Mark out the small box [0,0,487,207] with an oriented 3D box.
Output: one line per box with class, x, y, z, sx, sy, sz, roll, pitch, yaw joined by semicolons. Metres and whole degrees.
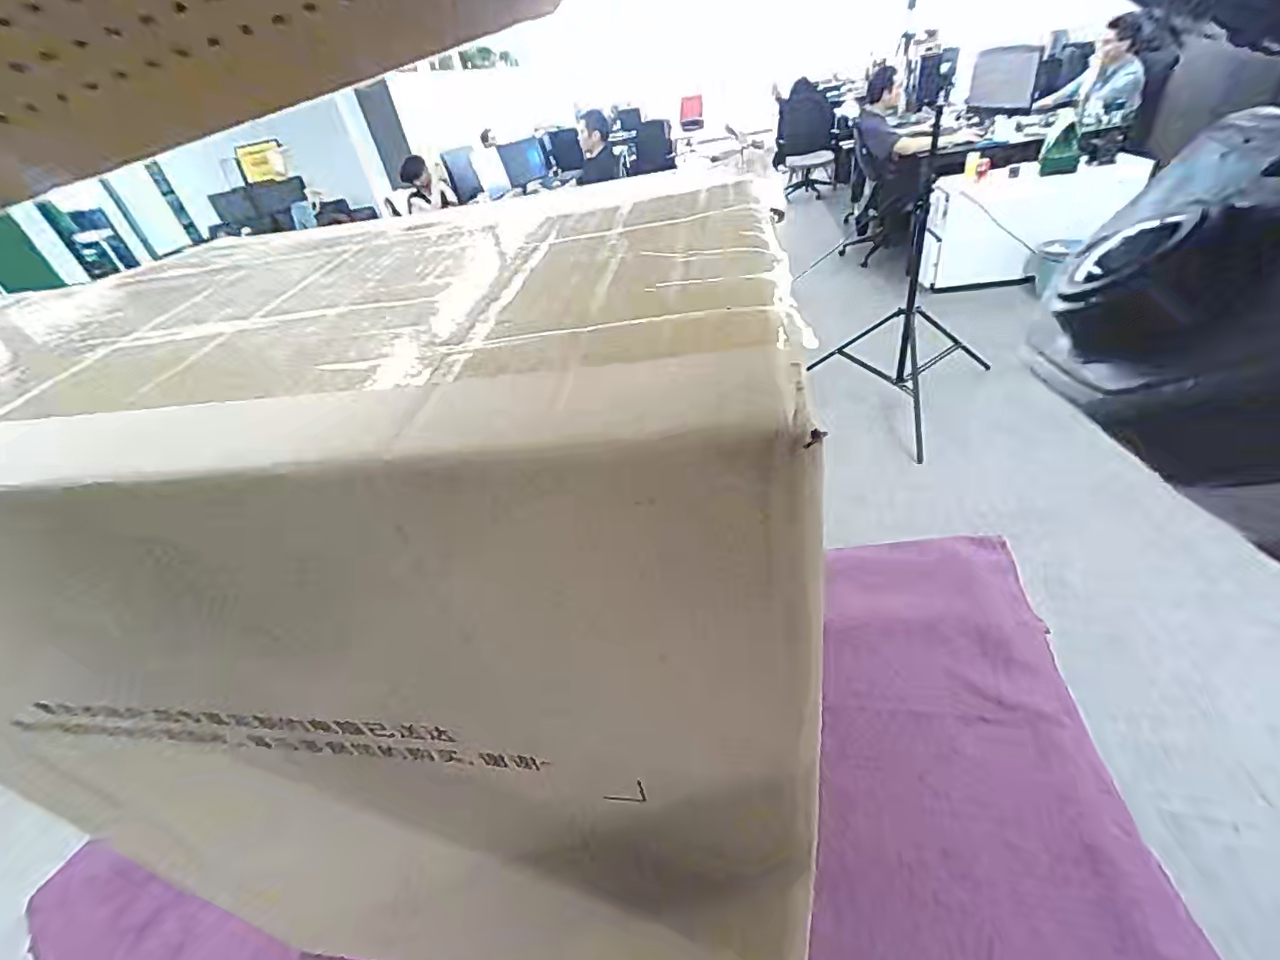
small box;-0.120;-0.162;0.053;0.179;0.168;0.176;-14;-9;5
